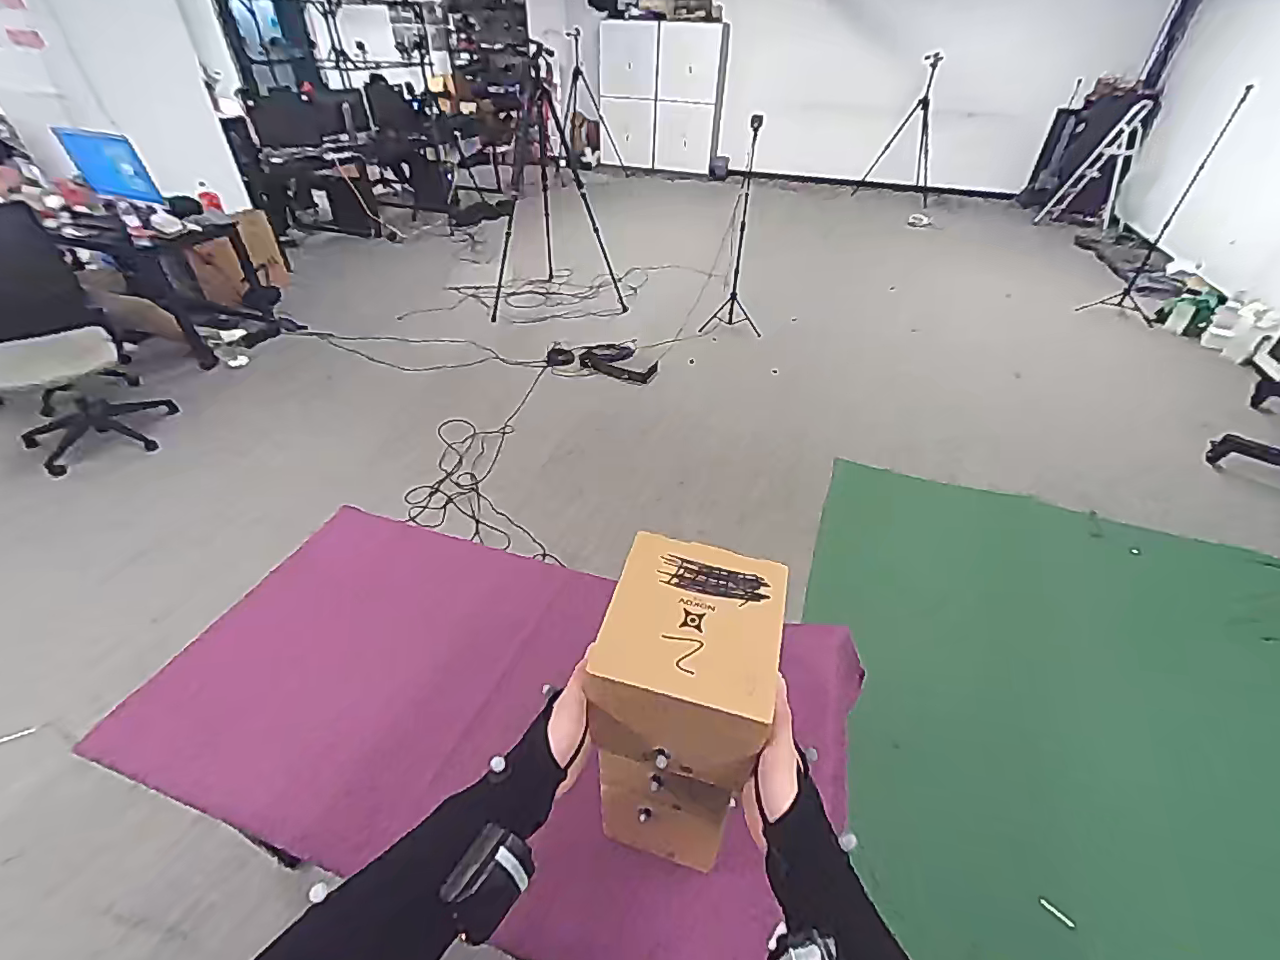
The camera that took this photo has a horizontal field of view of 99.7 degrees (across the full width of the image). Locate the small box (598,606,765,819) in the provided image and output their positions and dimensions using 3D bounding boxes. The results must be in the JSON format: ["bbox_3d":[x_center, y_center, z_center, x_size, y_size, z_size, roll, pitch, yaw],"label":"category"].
[{"bbox_3d":[0.057,0.301,0.705,0.168,0.176,0.179,13,40,14],"label":"small box"}]

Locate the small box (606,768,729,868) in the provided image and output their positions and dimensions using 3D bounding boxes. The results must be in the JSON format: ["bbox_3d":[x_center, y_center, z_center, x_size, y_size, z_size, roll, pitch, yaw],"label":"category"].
[{"bbox_3d":[0.054,0.431,0.808,0.168,0.176,0.179,11,39,14],"label":"small box"}]
